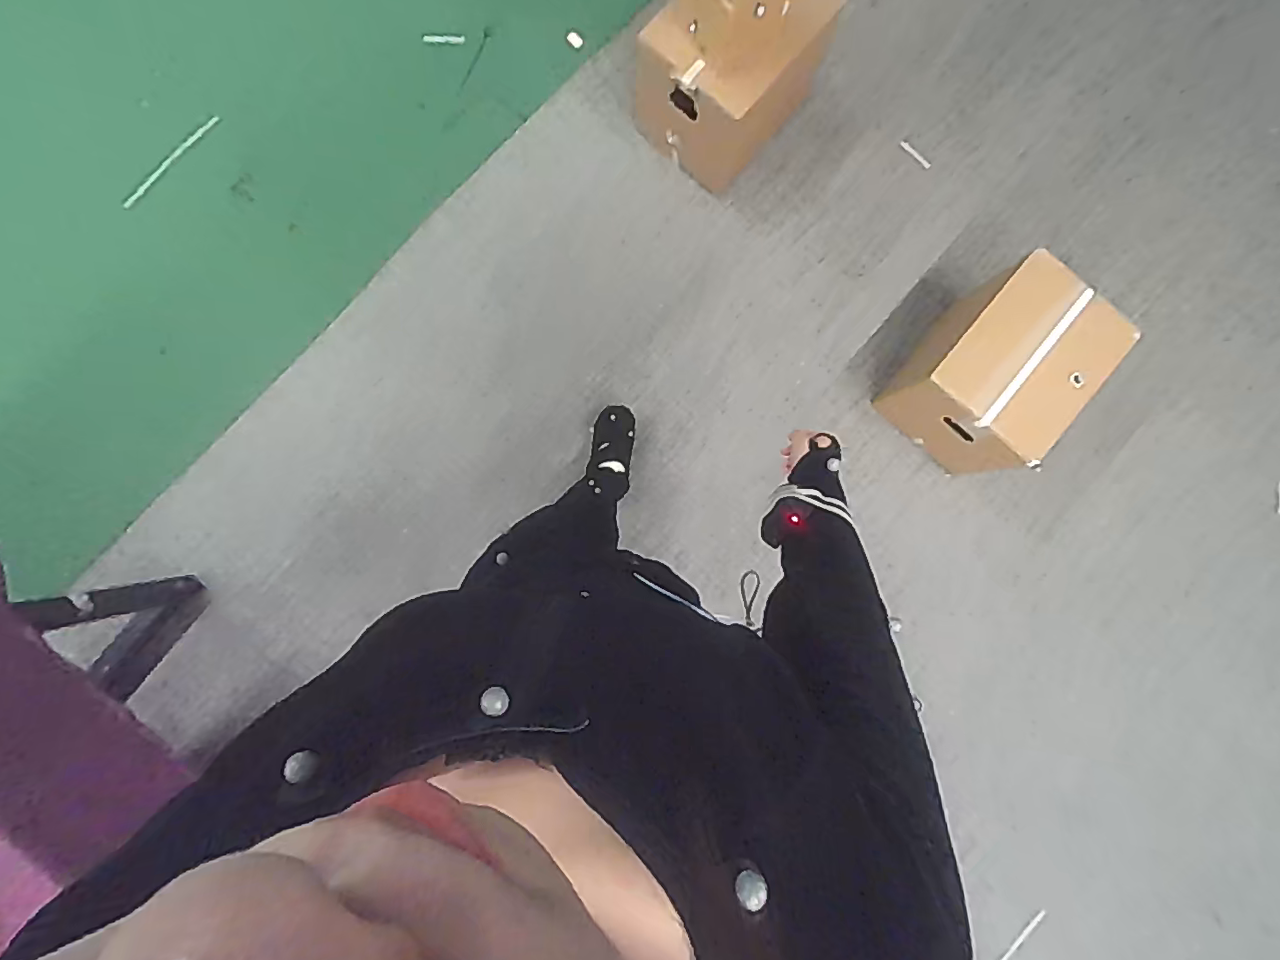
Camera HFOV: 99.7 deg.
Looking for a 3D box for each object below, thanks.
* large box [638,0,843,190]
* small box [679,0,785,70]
[{"bbox_3d":[0.235,-1.069,1.401,0.320,0.320,0.408,41,86,1],"label":"large box"},{"bbox_3d":[0.200,-1.047,1.156,0.179,0.176,0.168,-38,88,-2],"label":"small box"}]
